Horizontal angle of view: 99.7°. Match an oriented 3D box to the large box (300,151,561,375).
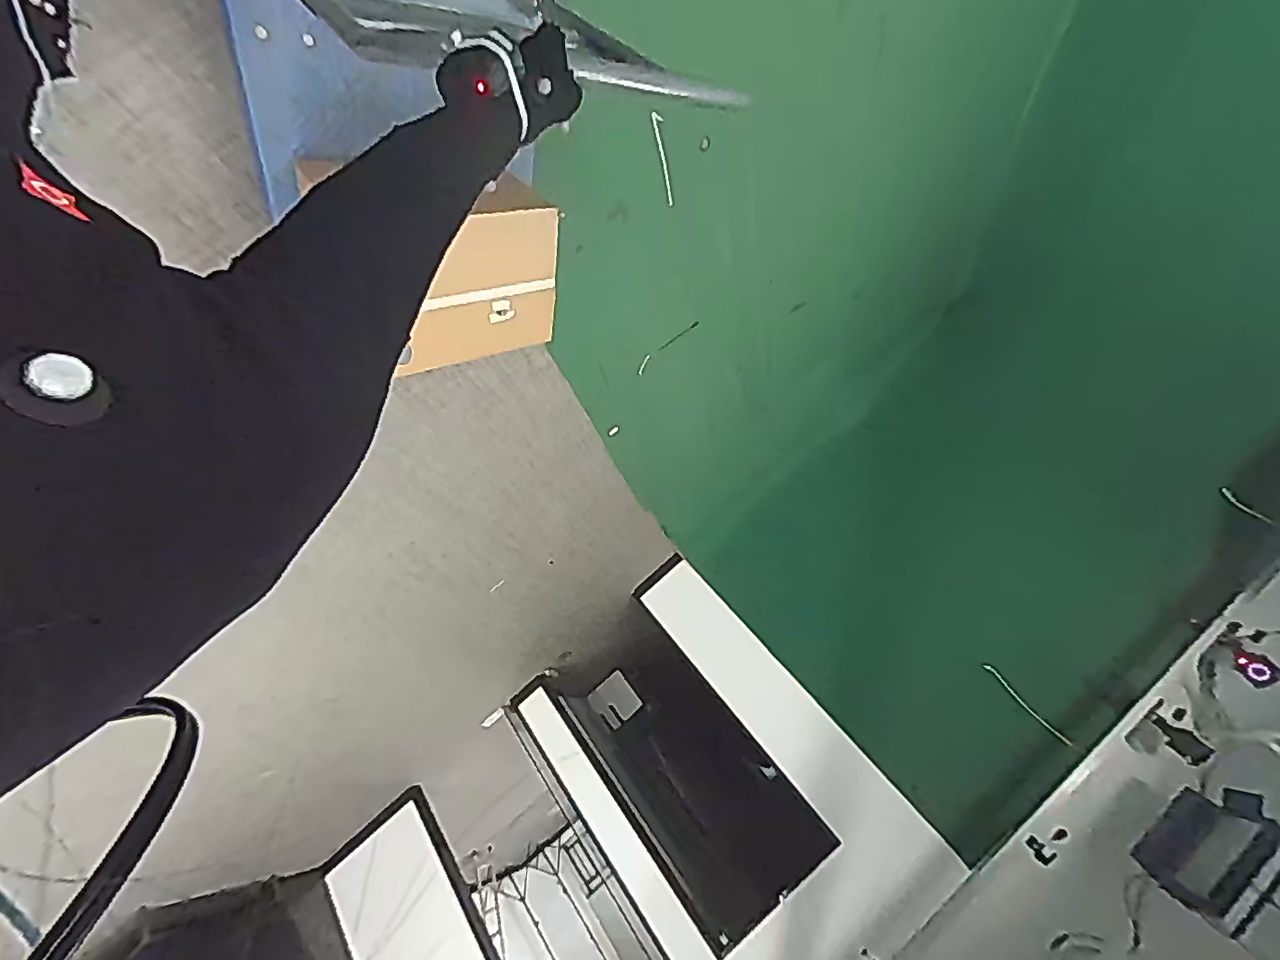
[{"bbox_3d":[-0.426,-0.480,1.160,0.408,0.320,0.320,-25,147,-31],"label":"large box"}]
